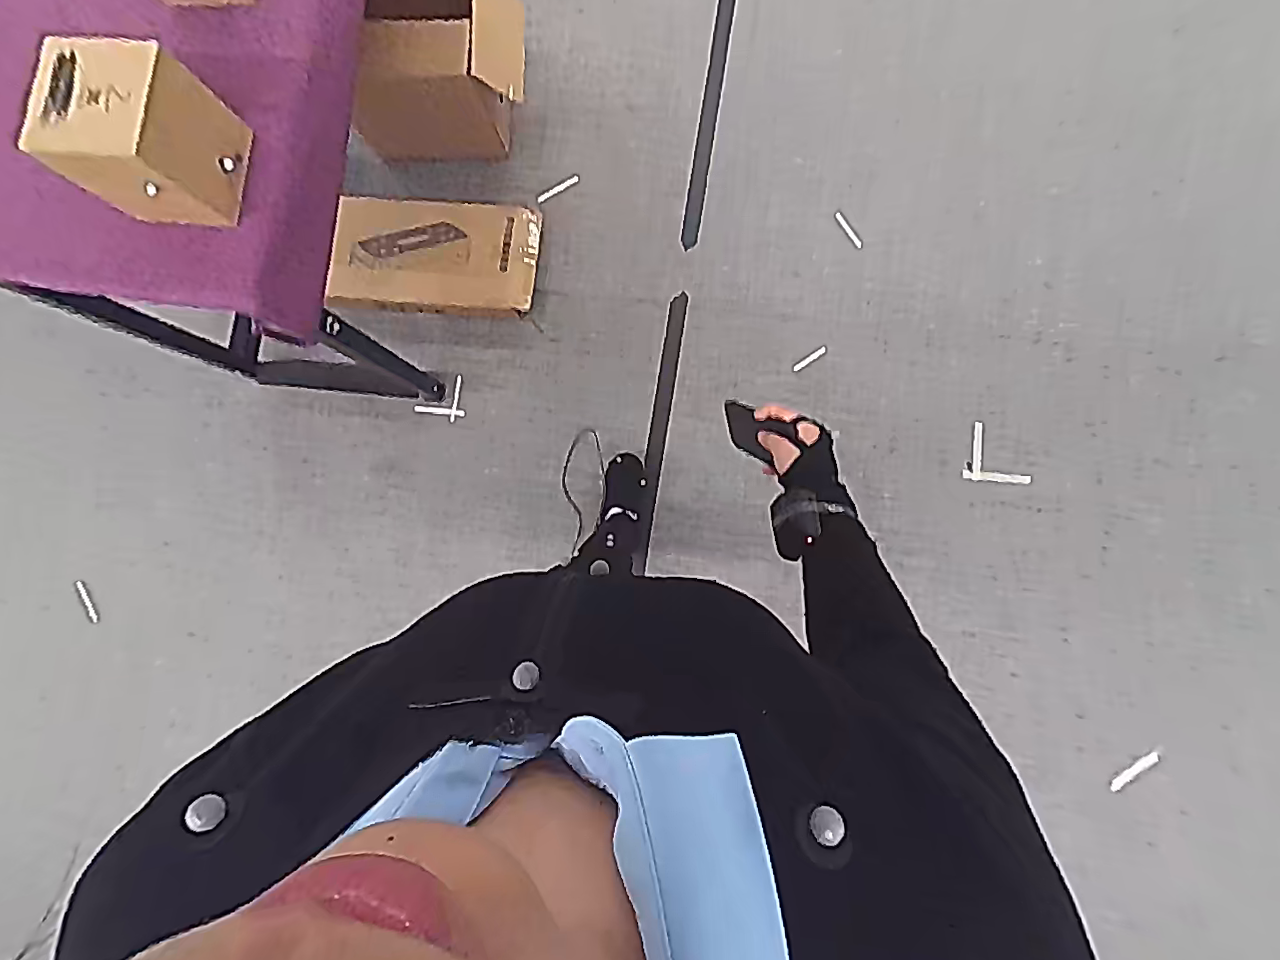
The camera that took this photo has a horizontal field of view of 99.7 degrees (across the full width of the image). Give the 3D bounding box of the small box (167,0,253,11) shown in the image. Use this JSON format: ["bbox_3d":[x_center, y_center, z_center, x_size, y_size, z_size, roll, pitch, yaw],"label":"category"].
[{"bbox_3d":[-0.725,-0.889,0.842,0.168,0.176,0.179,5,84,7],"label":"small box"}]
